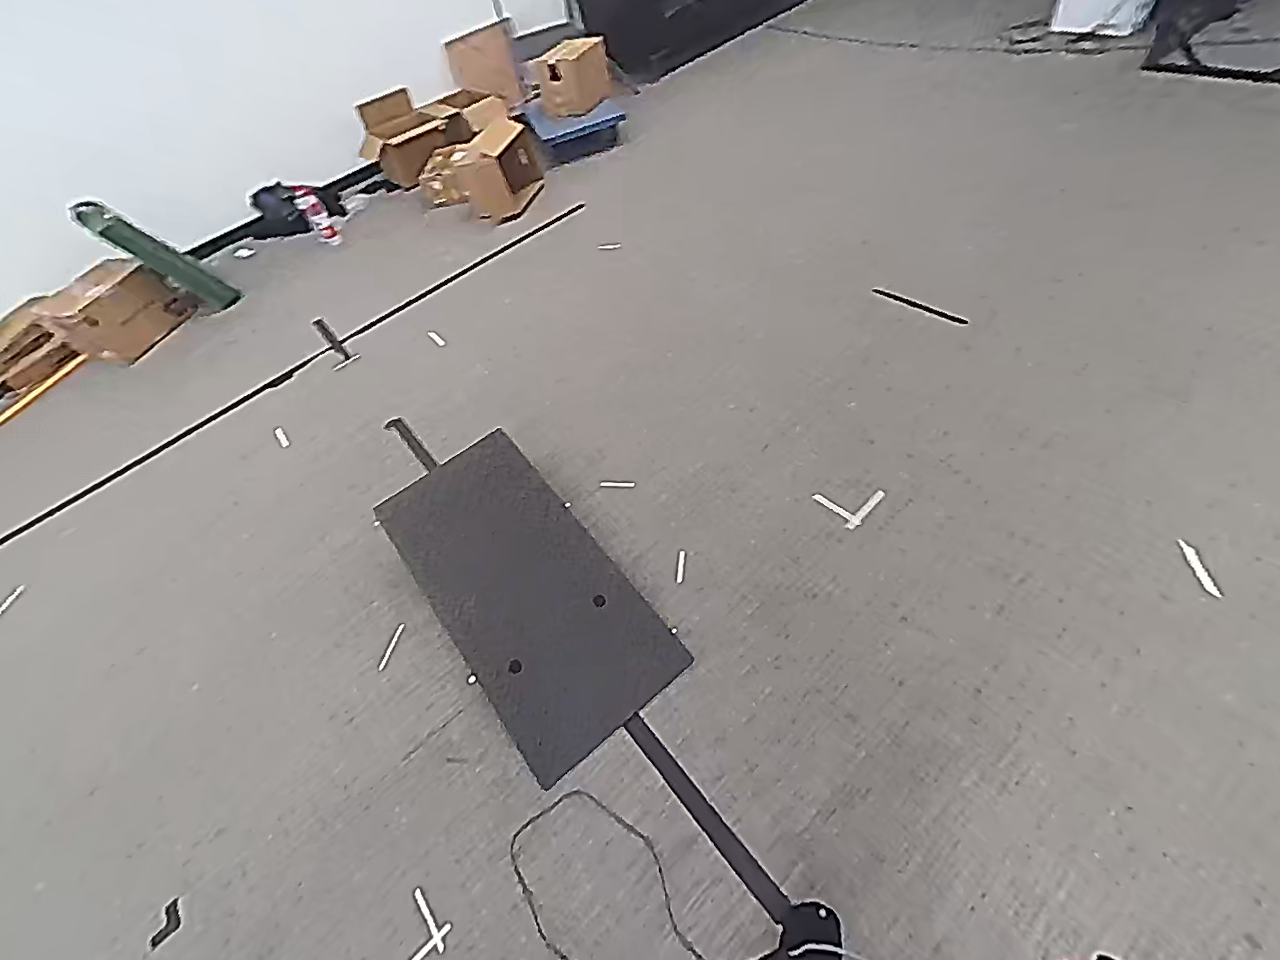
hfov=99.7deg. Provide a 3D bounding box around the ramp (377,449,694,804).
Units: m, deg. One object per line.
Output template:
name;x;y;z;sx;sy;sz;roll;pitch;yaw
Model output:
ramp;-0.345;0.344;1.601;0.509;0.206;0.991;-38;53;-18
